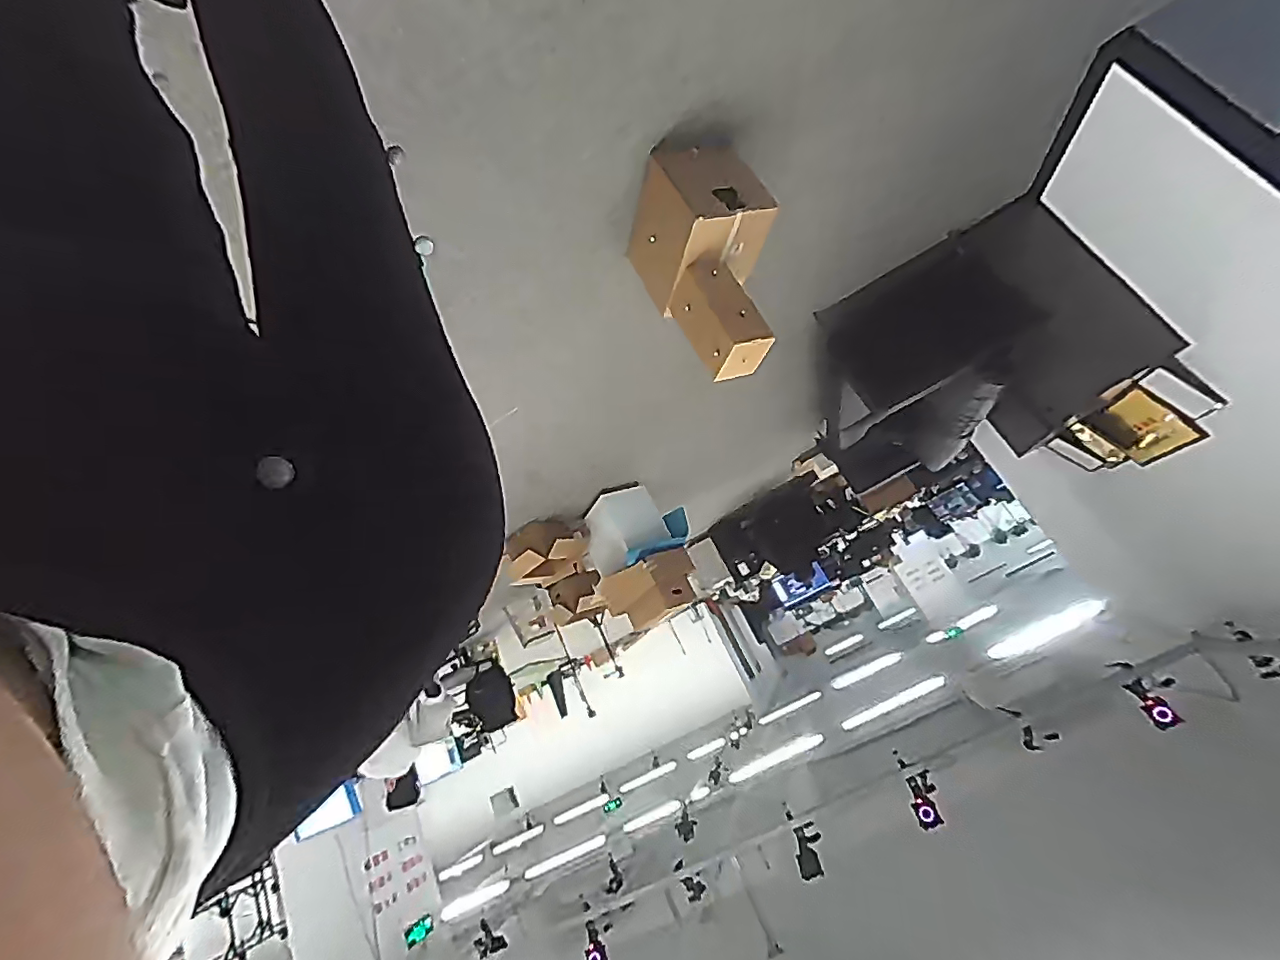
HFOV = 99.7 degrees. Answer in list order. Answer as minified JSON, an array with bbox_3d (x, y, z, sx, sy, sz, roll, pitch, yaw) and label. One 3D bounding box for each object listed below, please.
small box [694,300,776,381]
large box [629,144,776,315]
[{"bbox_3d":[0.294,-0.445,1.726,0.168,0.176,0.179,-16,157,-24],"label":"small box"},{"bbox_3d":[0.187,-0.837,1.826,0.320,0.320,0.408,-20,158,-21],"label":"large box"}]
